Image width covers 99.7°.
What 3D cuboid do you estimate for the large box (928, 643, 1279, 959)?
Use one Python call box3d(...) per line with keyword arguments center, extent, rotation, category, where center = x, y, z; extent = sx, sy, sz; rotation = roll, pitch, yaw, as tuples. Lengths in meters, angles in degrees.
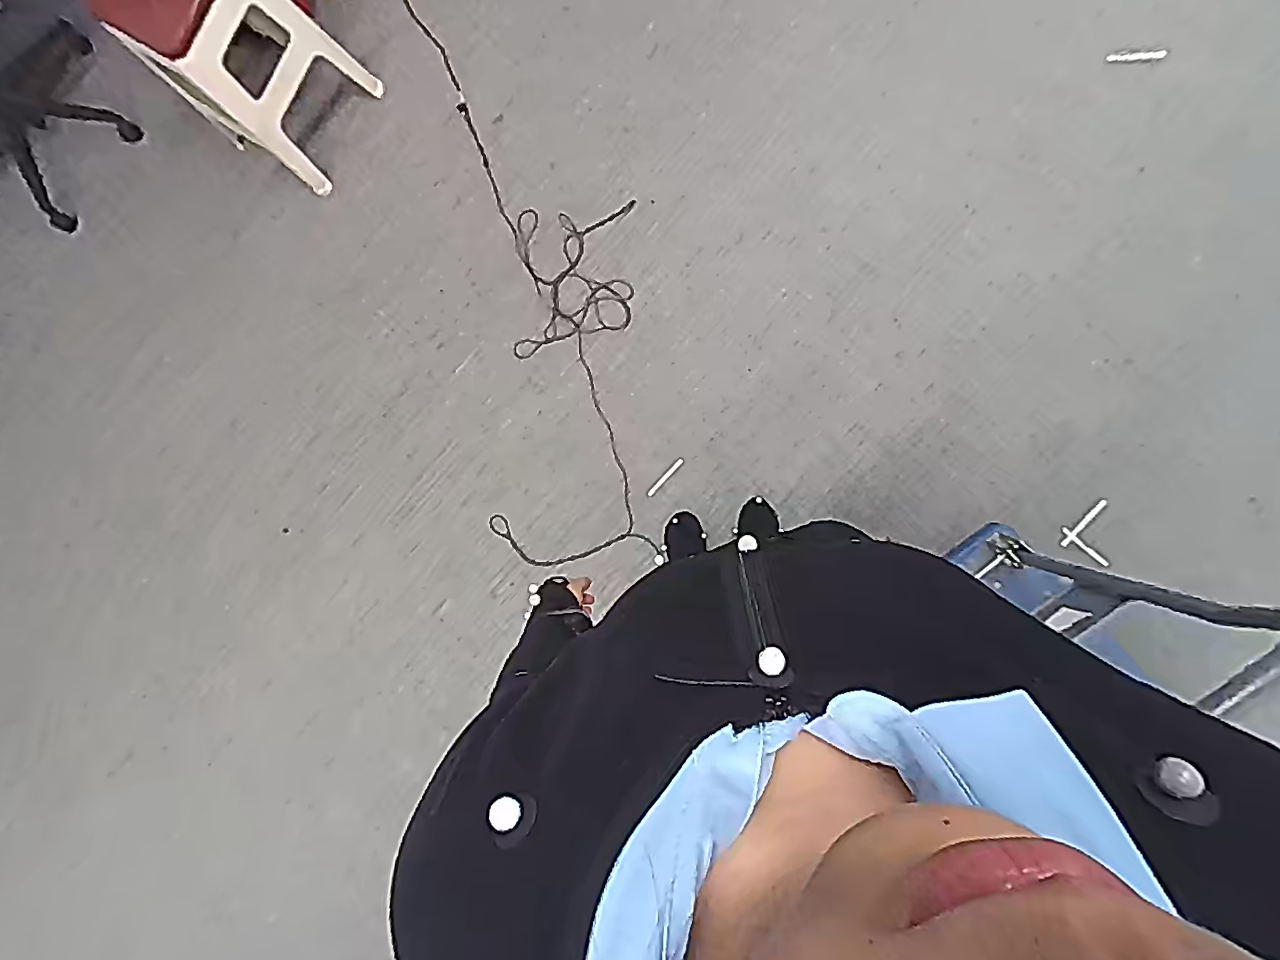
box3d(center=(0.894, 0.607, 1.090), extent=(0.408, 0.320, 0.320), rotation=(-40, 85, 4), category="large box")
